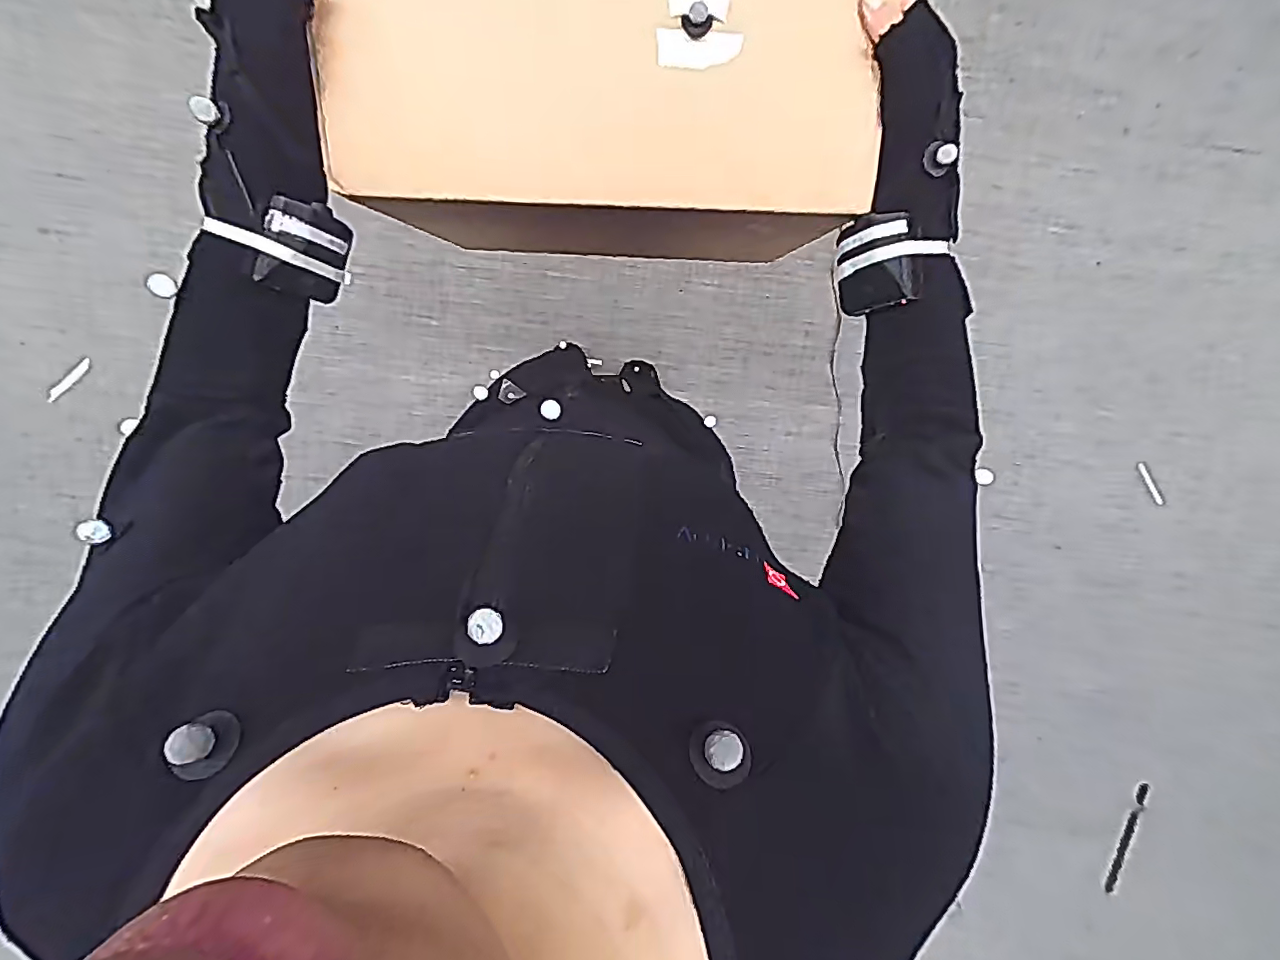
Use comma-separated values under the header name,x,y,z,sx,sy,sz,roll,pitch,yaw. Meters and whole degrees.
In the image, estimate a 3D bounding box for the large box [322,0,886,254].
name,x,y,z,sx,sy,sz,roll,pitch,yaw
large box,-0.025,-0.404,0.516,0.408,0.320,0.320,2,106,-1
